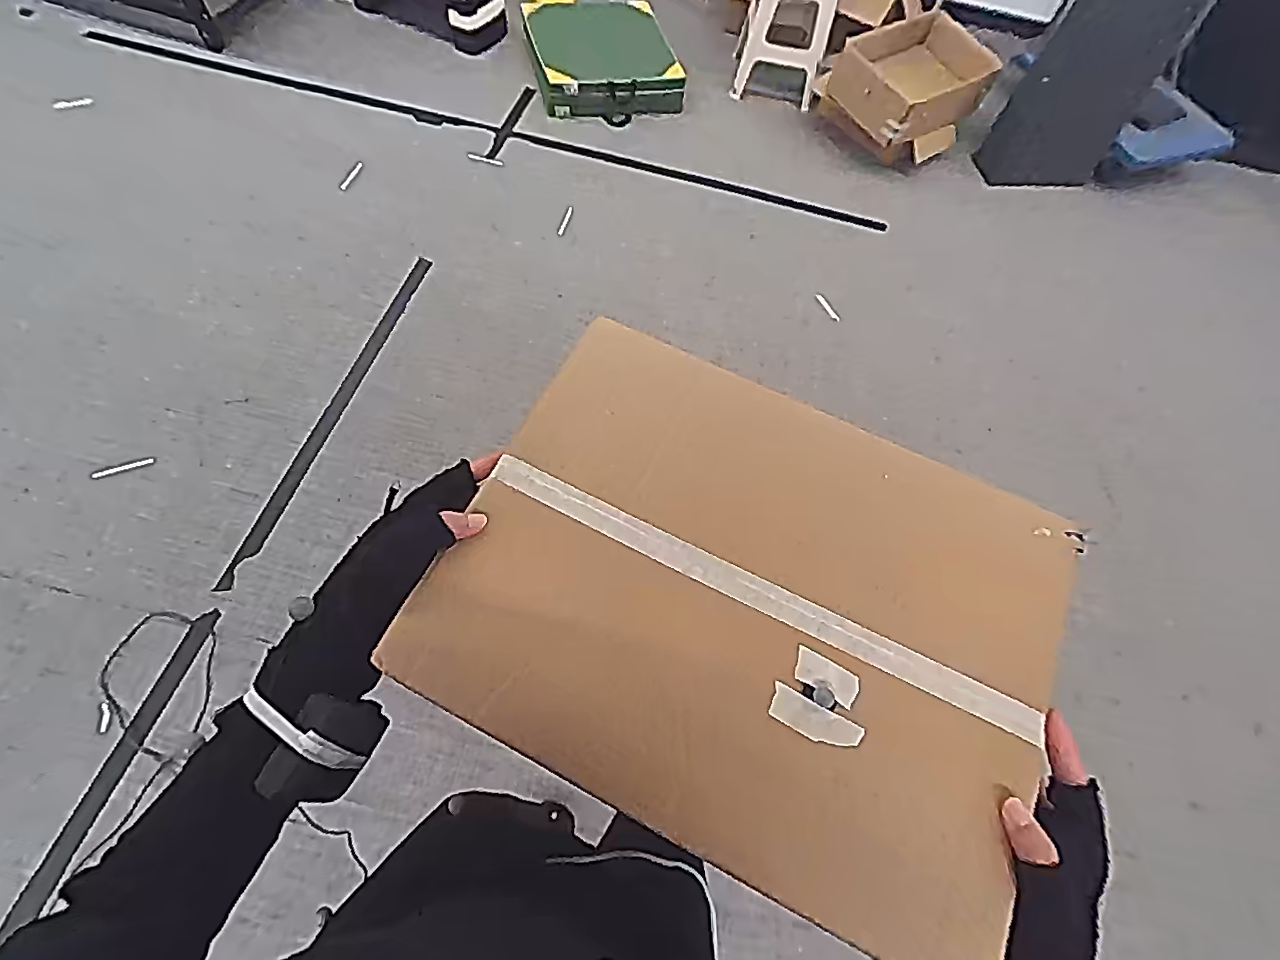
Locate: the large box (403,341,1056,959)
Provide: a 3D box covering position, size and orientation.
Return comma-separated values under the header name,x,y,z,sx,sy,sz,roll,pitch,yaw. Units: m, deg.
name,x,y,z,sx,sy,sz,roll,pitch,yaw
large box,0.073,0.139,0.528,0.408,0.320,0.320,26,70,8
